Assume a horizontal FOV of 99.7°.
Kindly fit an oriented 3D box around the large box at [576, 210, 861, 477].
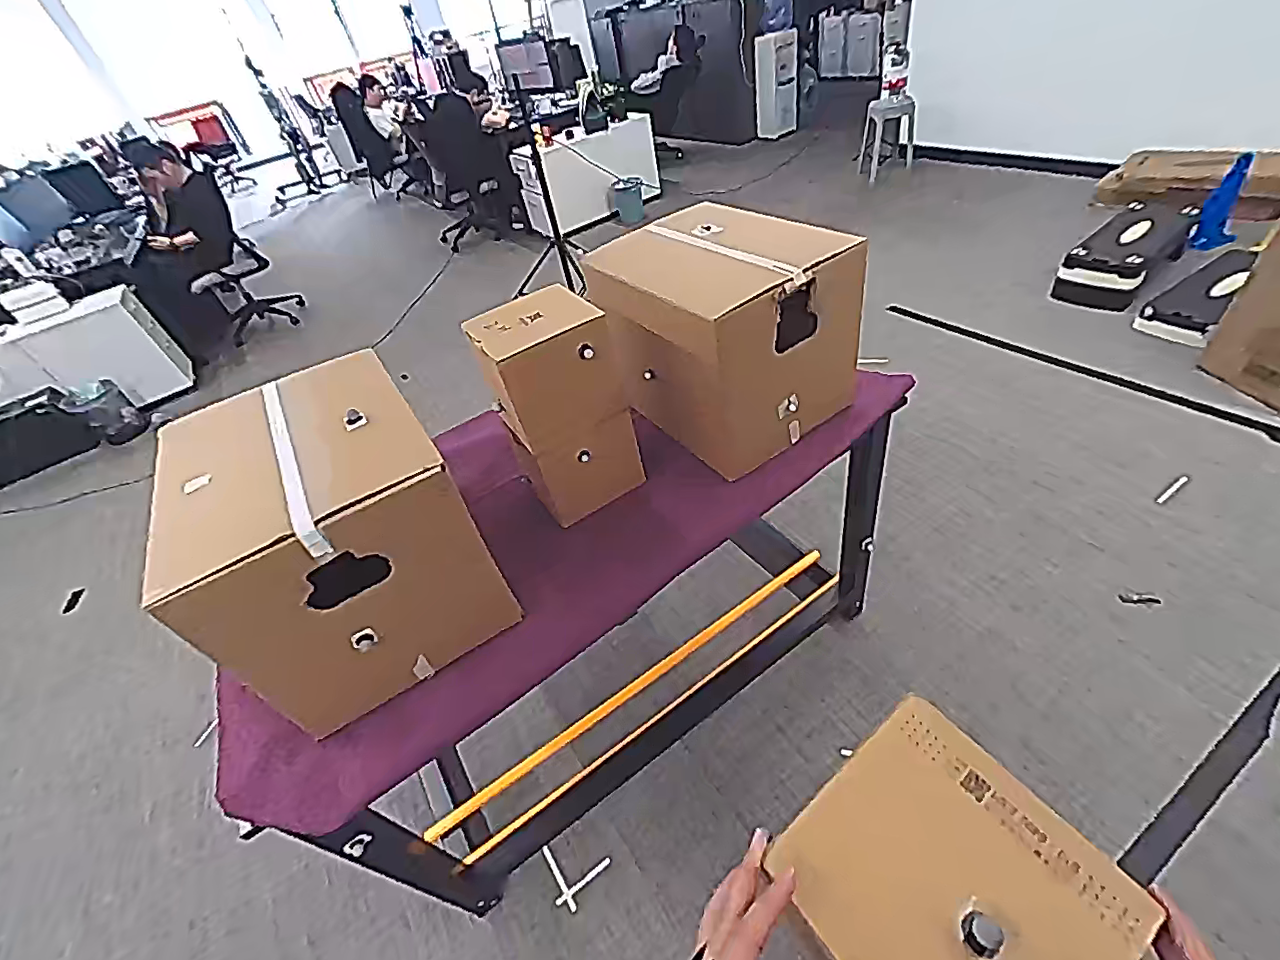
[{"bbox_3d":[0.142,-0.271,1.012,0.320,0.320,0.408,-31,43,-18],"label":"large box"}]
